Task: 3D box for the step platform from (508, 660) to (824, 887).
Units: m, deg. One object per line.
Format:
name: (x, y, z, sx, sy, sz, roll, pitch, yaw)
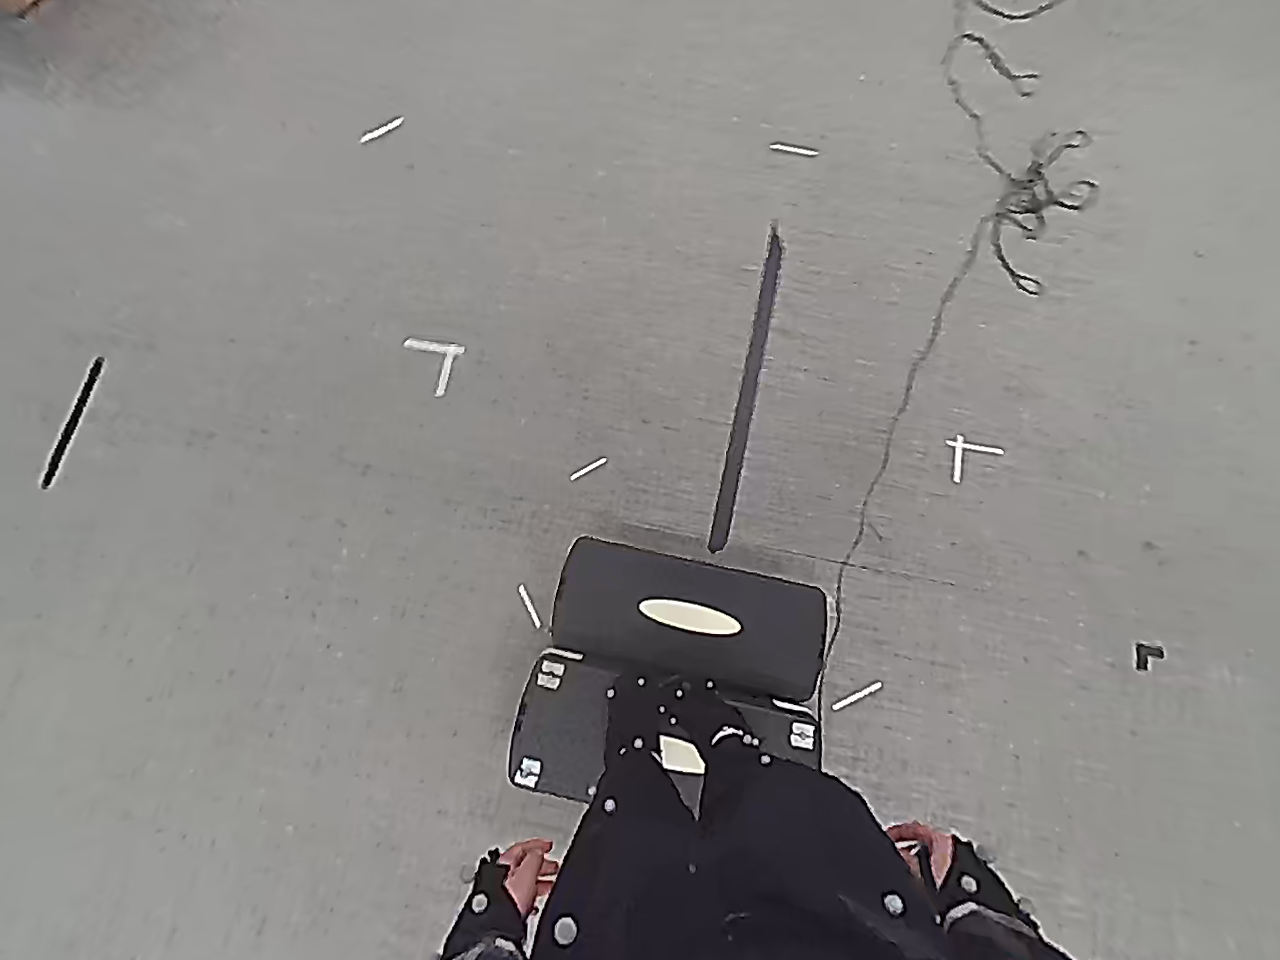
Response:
step platform: (0.057, 0.643, 1.228, 0.684, 0.204, 0.286, 15, 76, 6)
